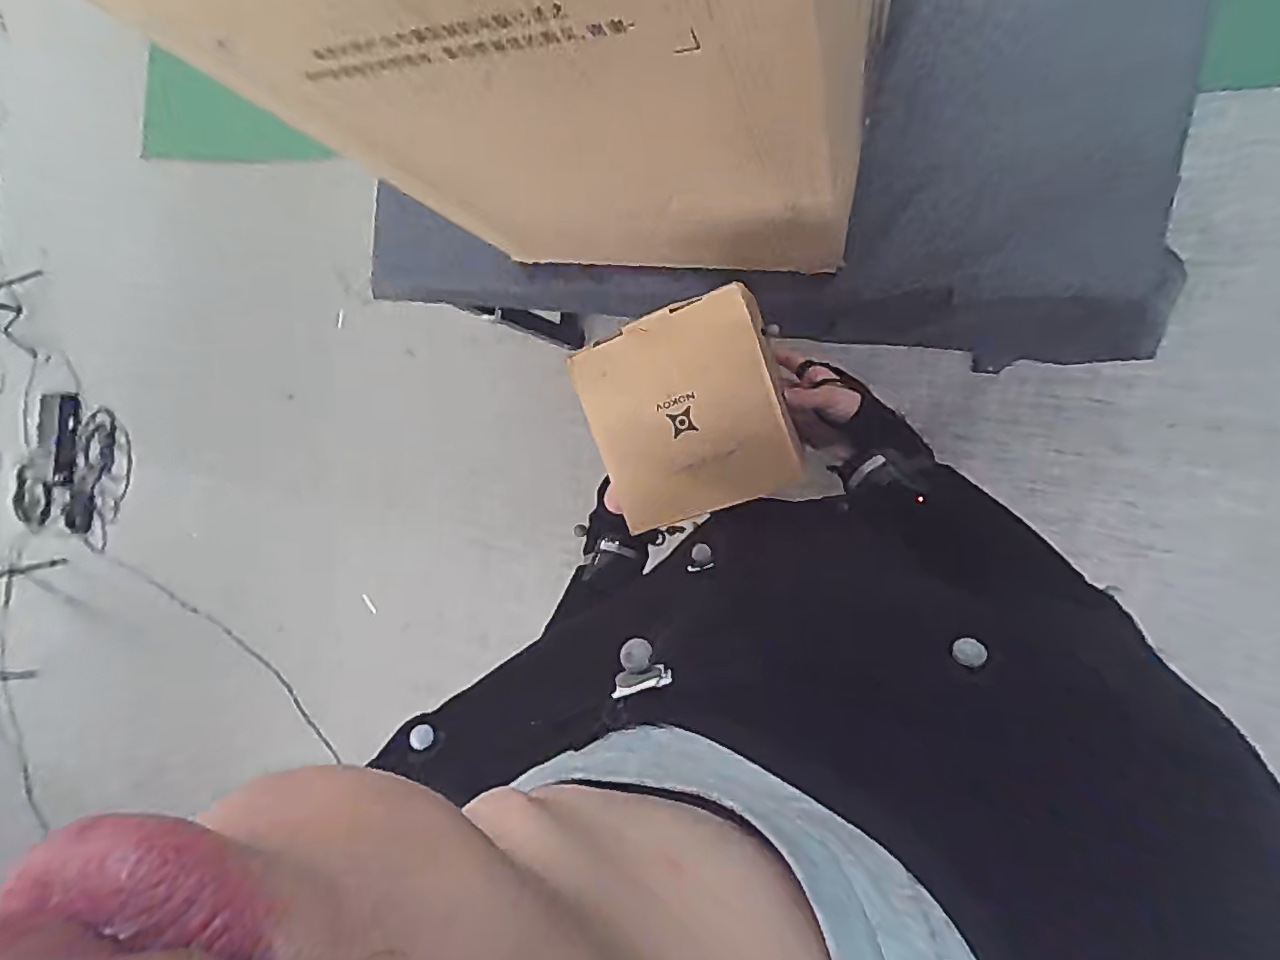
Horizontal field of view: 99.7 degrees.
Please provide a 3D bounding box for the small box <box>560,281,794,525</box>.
[{"bbox_3d":[0.049,-0.076,0.541,0.168,0.176,0.179,-16,99,20],"label":"small box"}]
